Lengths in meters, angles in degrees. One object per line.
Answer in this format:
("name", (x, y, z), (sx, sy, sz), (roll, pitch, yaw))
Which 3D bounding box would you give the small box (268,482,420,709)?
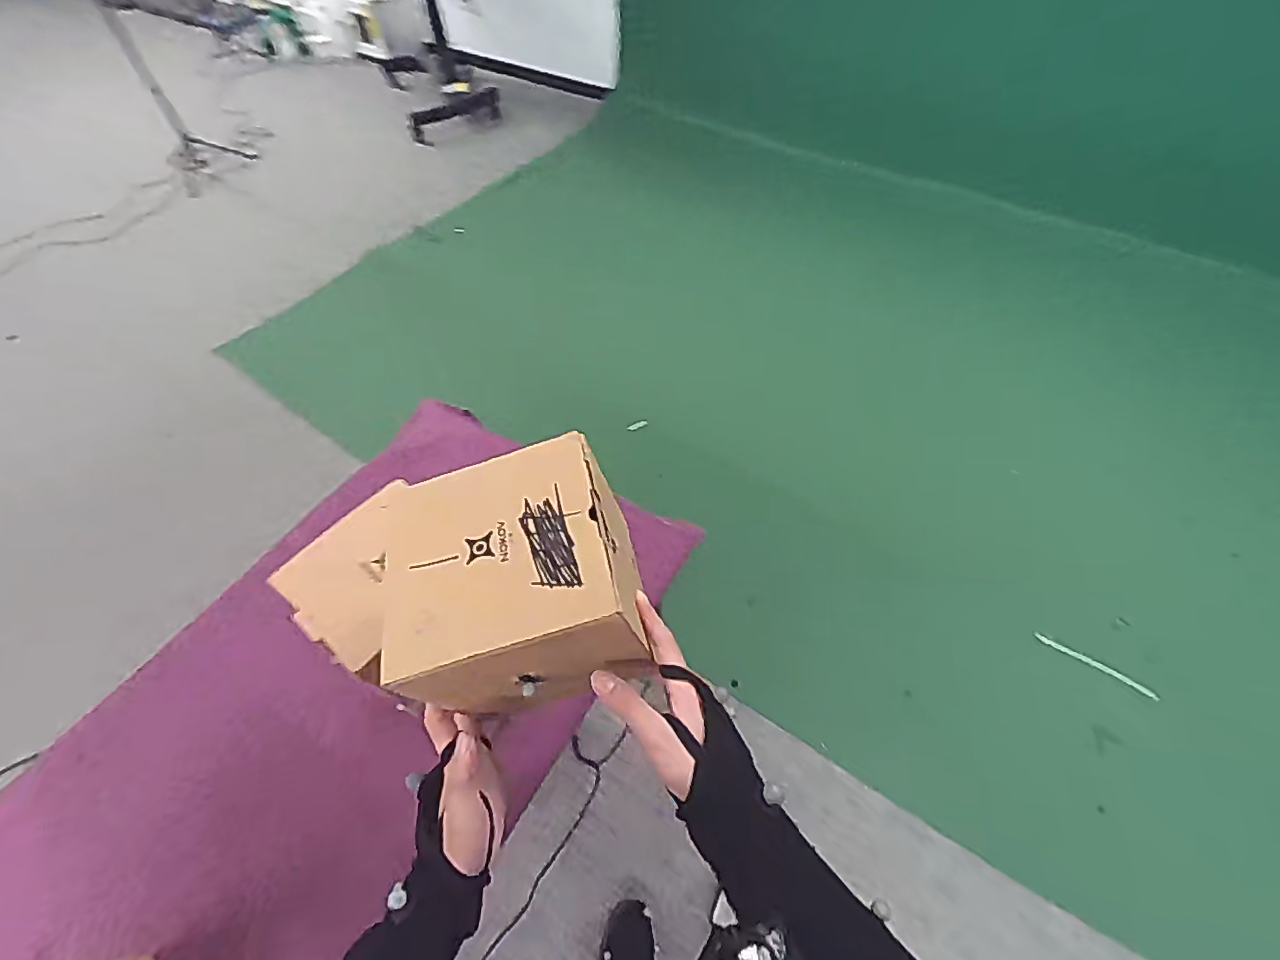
("small box", (-0.285, 0.143, 0.652), (0.168, 0.176, 0.179), (35, 62, 23))

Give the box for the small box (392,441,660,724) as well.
("small box", (-0.087, 0.098, 0.474), (0.179, 0.176, 0.168), (-17, 55, 3))
